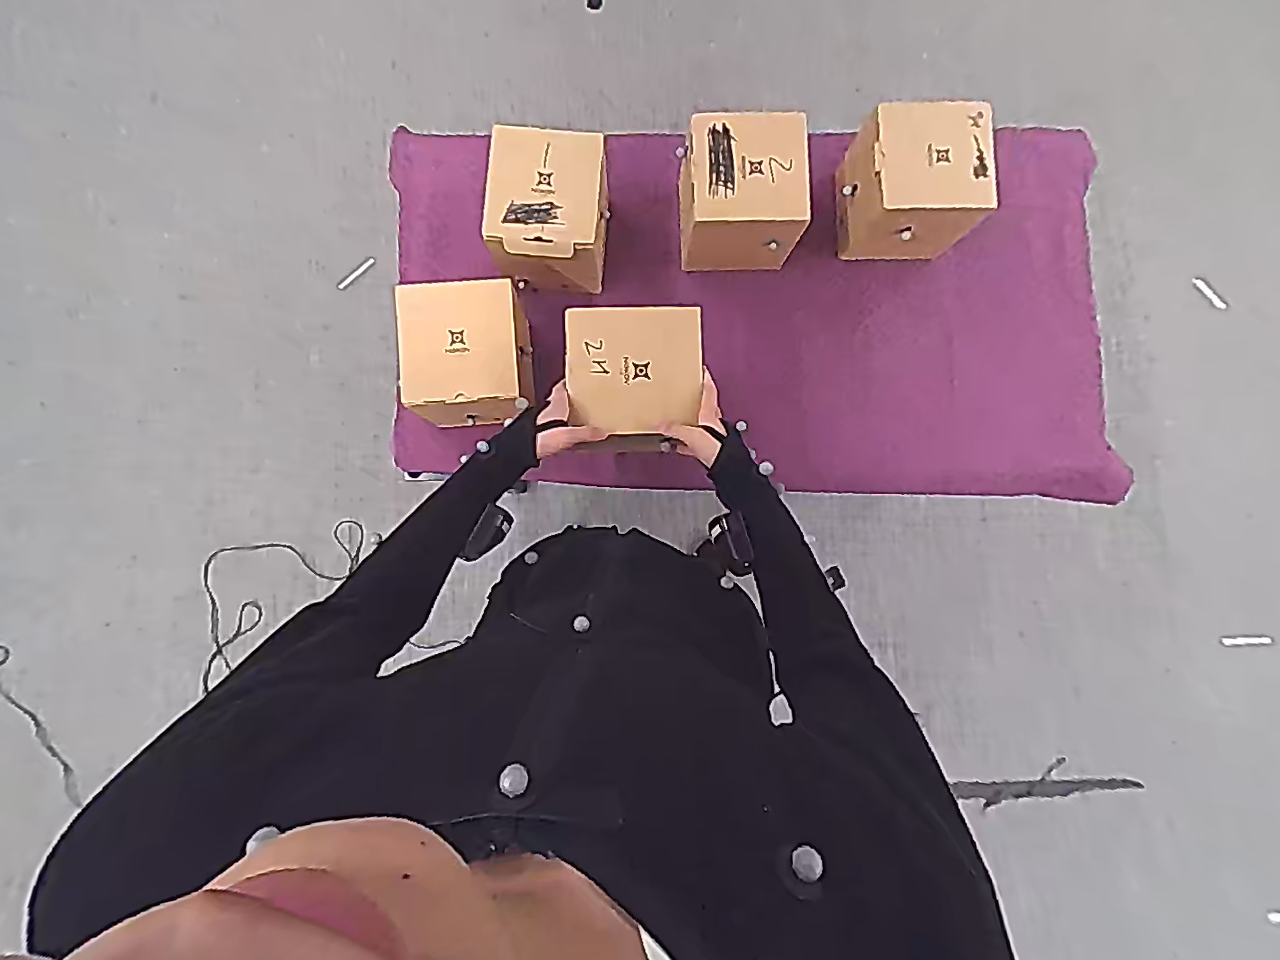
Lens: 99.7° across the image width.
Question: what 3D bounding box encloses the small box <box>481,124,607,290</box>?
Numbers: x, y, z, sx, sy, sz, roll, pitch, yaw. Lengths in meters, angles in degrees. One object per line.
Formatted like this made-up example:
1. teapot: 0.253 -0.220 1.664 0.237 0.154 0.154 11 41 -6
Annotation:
1. small box: -0.142 -0.420 0.859 0.168 0.176 0.179 4 86 -1

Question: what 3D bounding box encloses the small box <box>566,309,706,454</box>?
1. small box: -0.008 -0.129 0.756 0.179 0.176 0.168 -1 86 -1

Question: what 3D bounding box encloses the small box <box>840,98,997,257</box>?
1. small box: 0.434 -0.476 0.873 0.179 0.176 0.168 -1 88 0

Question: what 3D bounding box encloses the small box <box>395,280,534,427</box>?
1. small box: -0.262 -0.188 0.838 0.168 0.176 0.179 -5 86 -4
